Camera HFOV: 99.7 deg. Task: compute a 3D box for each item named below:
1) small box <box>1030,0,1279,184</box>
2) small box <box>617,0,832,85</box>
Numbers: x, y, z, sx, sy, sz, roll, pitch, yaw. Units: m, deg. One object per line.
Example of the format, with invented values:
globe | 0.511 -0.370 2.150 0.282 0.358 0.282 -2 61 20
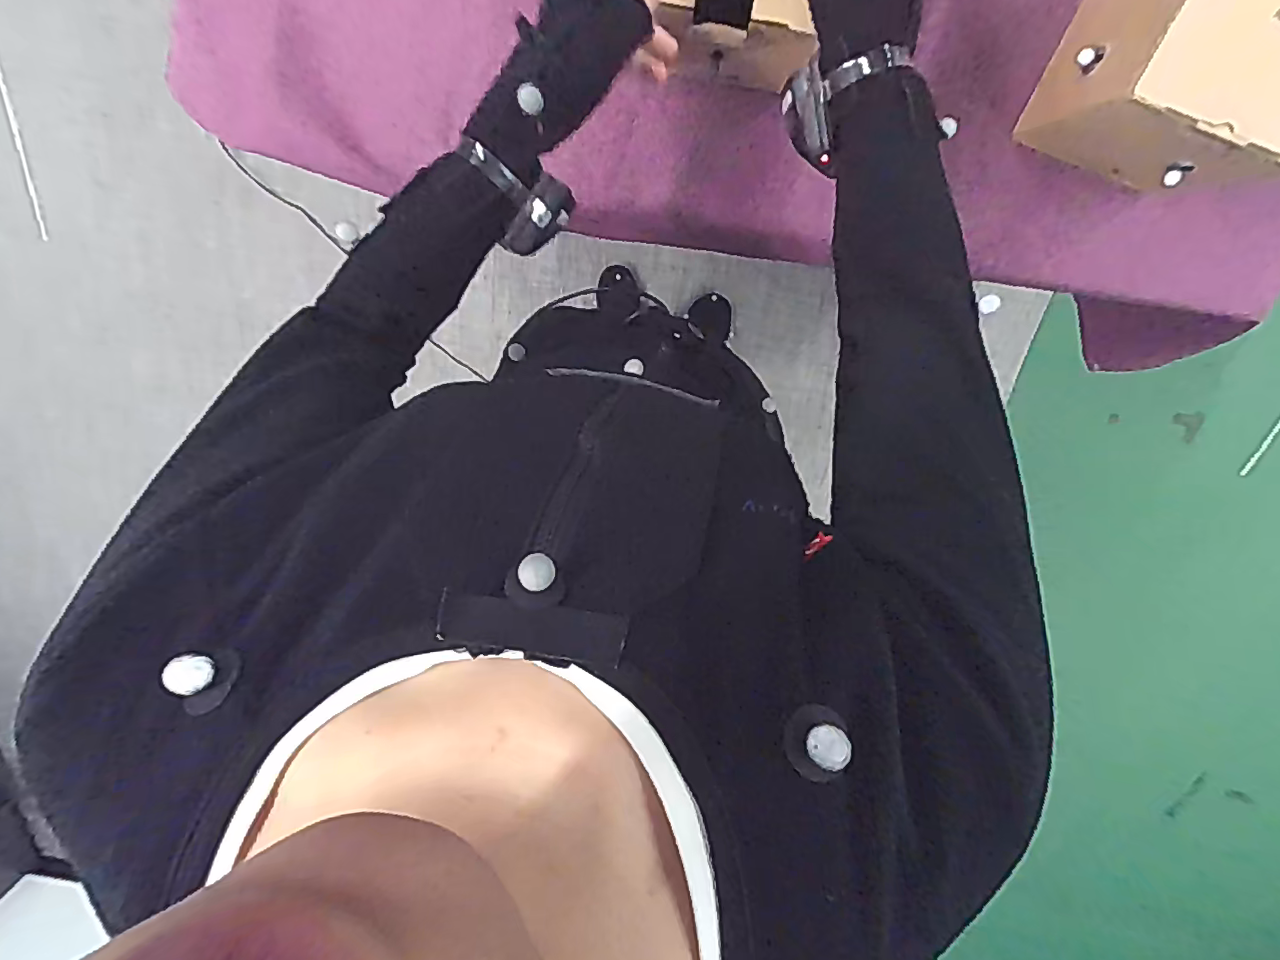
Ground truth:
small box | 0.479 -0.371 0.453 0.168 0.176 0.179 20 113 -4
small box | 0.082 -0.461 0.450 0.168 0.176 0.179 10 113 0
